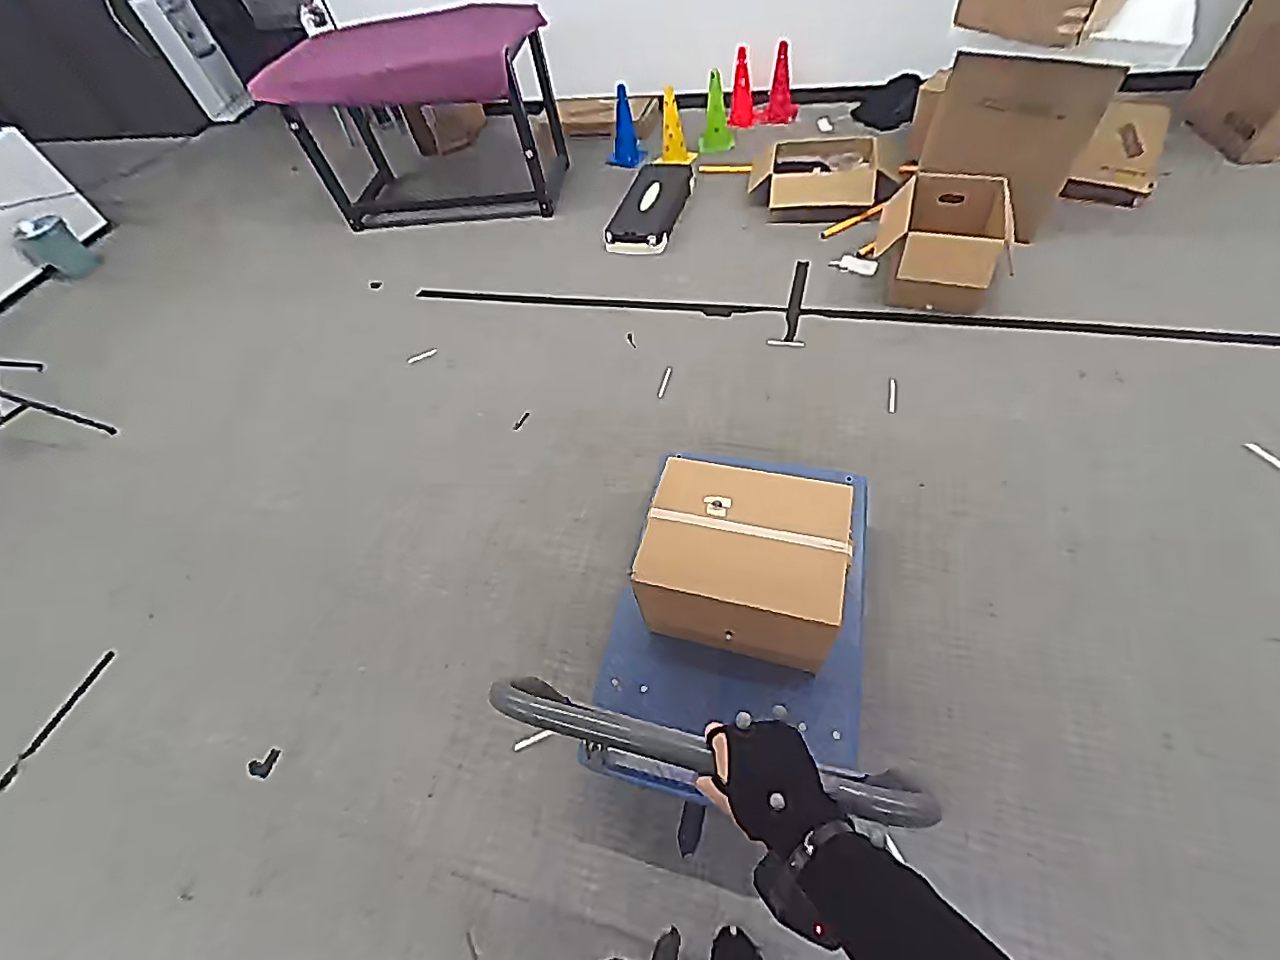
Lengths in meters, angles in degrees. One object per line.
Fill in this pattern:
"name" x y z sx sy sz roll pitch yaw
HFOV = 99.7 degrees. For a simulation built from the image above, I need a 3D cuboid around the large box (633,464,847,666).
"large box" 0.236 0.196 1.241 0.408 0.320 0.320 9 56 16
